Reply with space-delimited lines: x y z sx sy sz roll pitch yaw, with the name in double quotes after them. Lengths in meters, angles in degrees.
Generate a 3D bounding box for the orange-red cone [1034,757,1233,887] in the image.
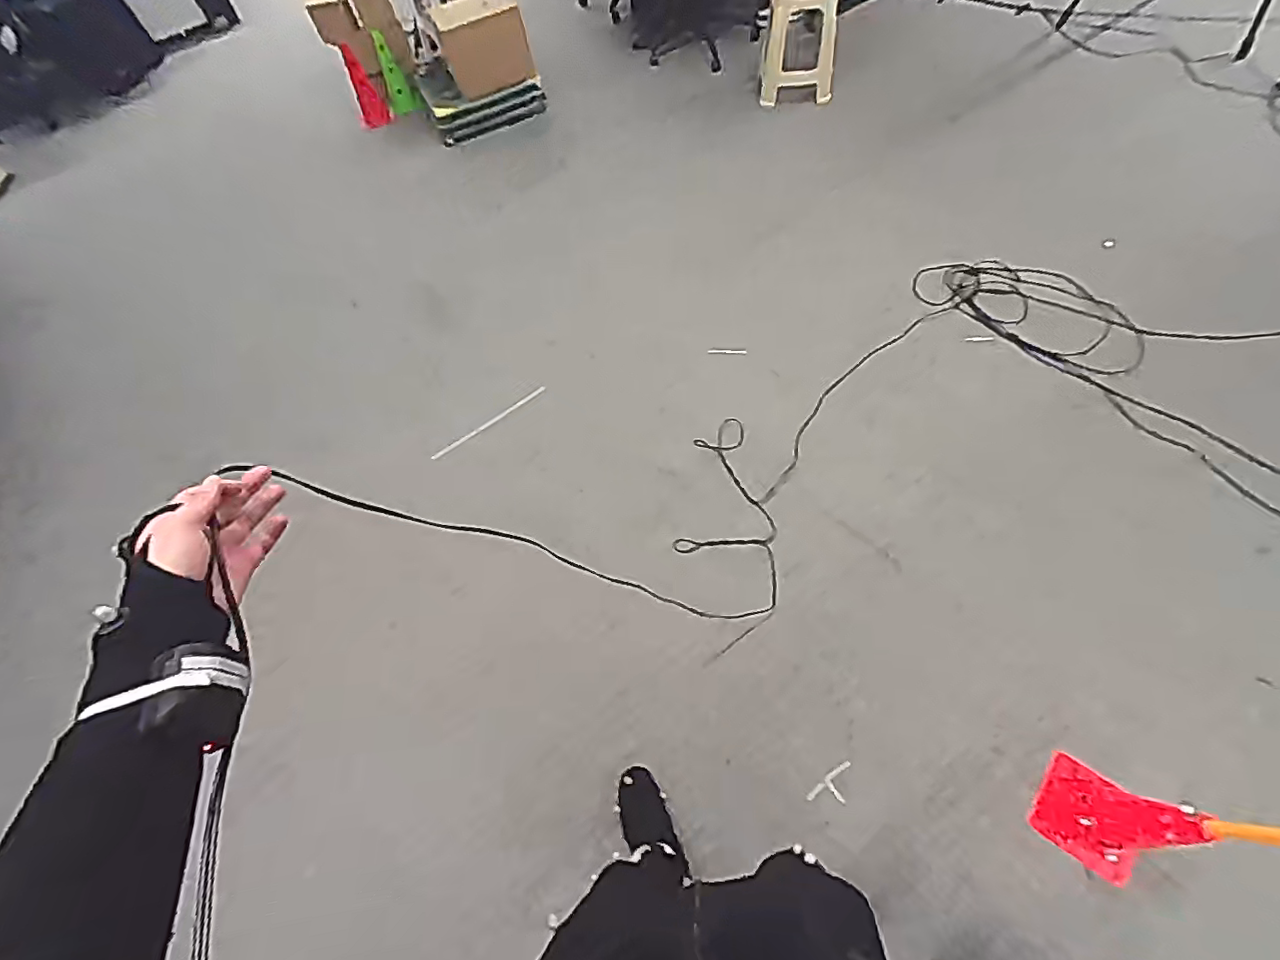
1.006 0.684 1.076 0.198 0.360 0.199 34 69 22 "orange-red cone"
